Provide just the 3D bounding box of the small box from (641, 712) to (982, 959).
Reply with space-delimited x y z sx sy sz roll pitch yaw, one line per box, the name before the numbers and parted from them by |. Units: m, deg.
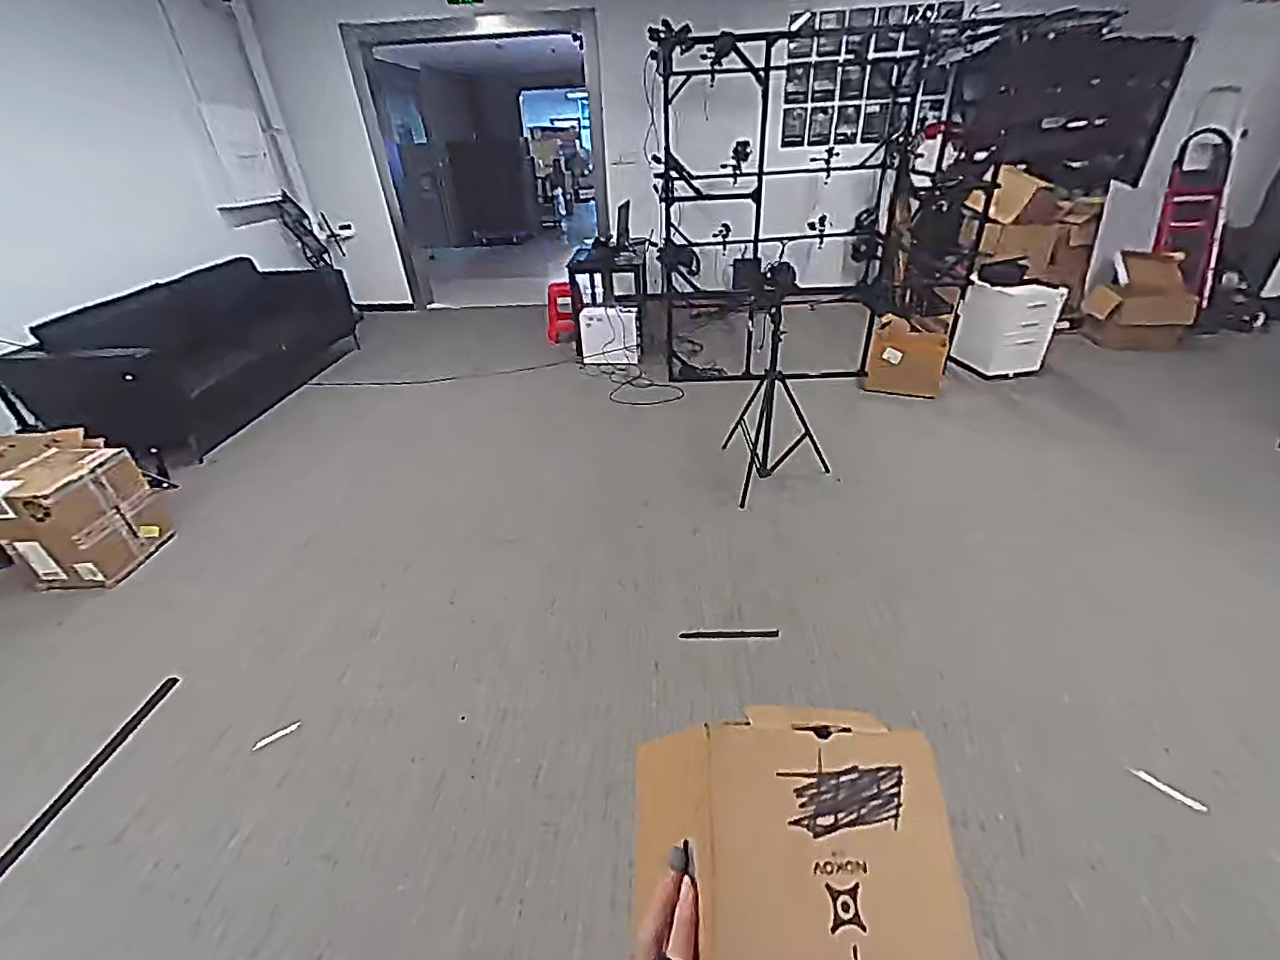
small box | 0.100 0.275 0.386 0.168 0.176 0.179 8 59 -12
